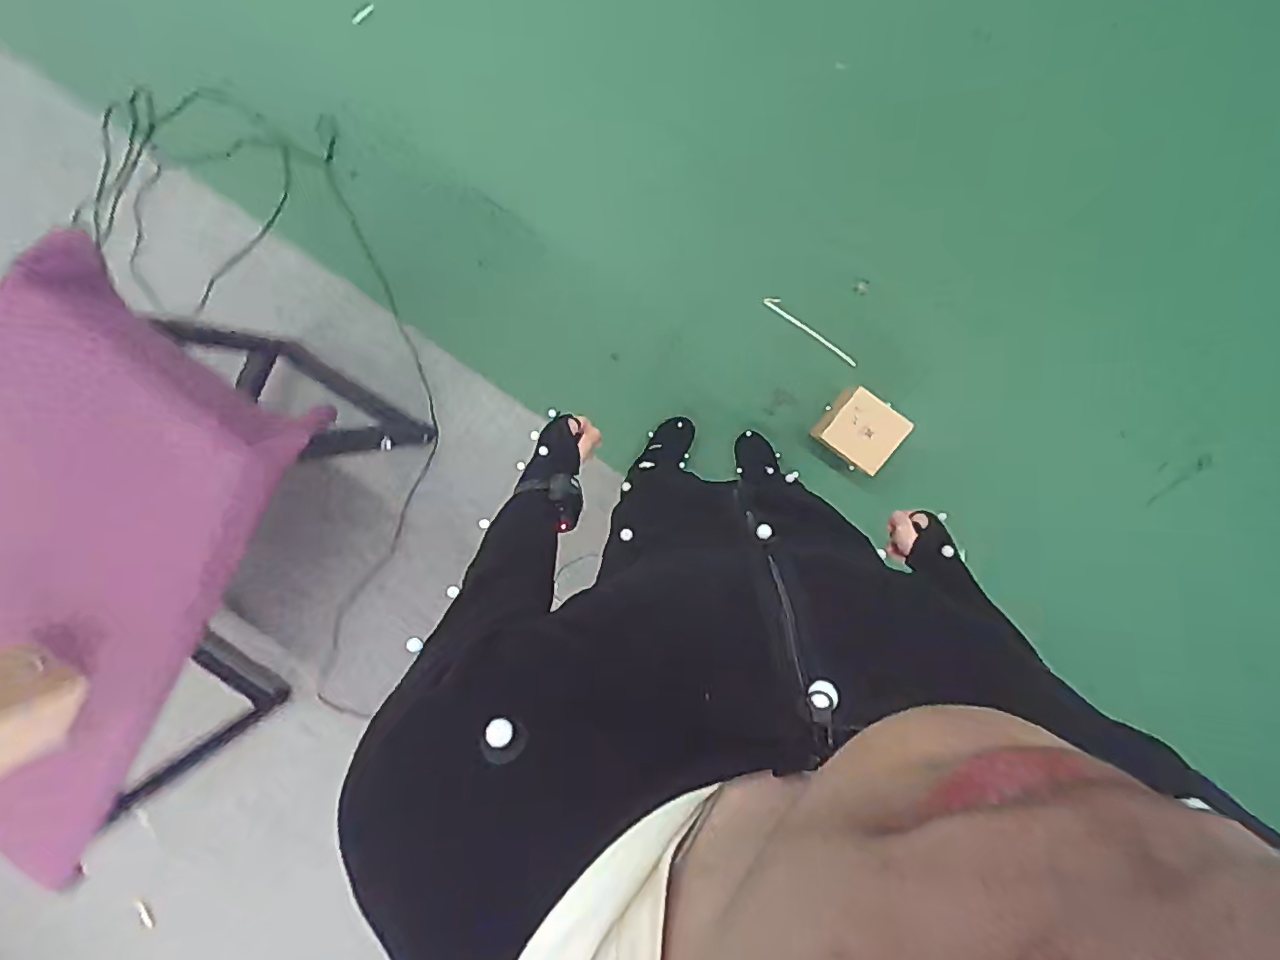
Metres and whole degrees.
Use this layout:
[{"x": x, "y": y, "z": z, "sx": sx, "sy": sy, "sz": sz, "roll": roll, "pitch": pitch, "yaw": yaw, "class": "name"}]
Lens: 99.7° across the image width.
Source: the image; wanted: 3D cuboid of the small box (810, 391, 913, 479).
[{"x": 0.592, "y": -0.127, "z": 1.468, "sx": 0.179, "sy": 0.176, "sz": 0.168, "roll": 38, "pitch": 100, "yaw": 1, "class": "small box"}]
